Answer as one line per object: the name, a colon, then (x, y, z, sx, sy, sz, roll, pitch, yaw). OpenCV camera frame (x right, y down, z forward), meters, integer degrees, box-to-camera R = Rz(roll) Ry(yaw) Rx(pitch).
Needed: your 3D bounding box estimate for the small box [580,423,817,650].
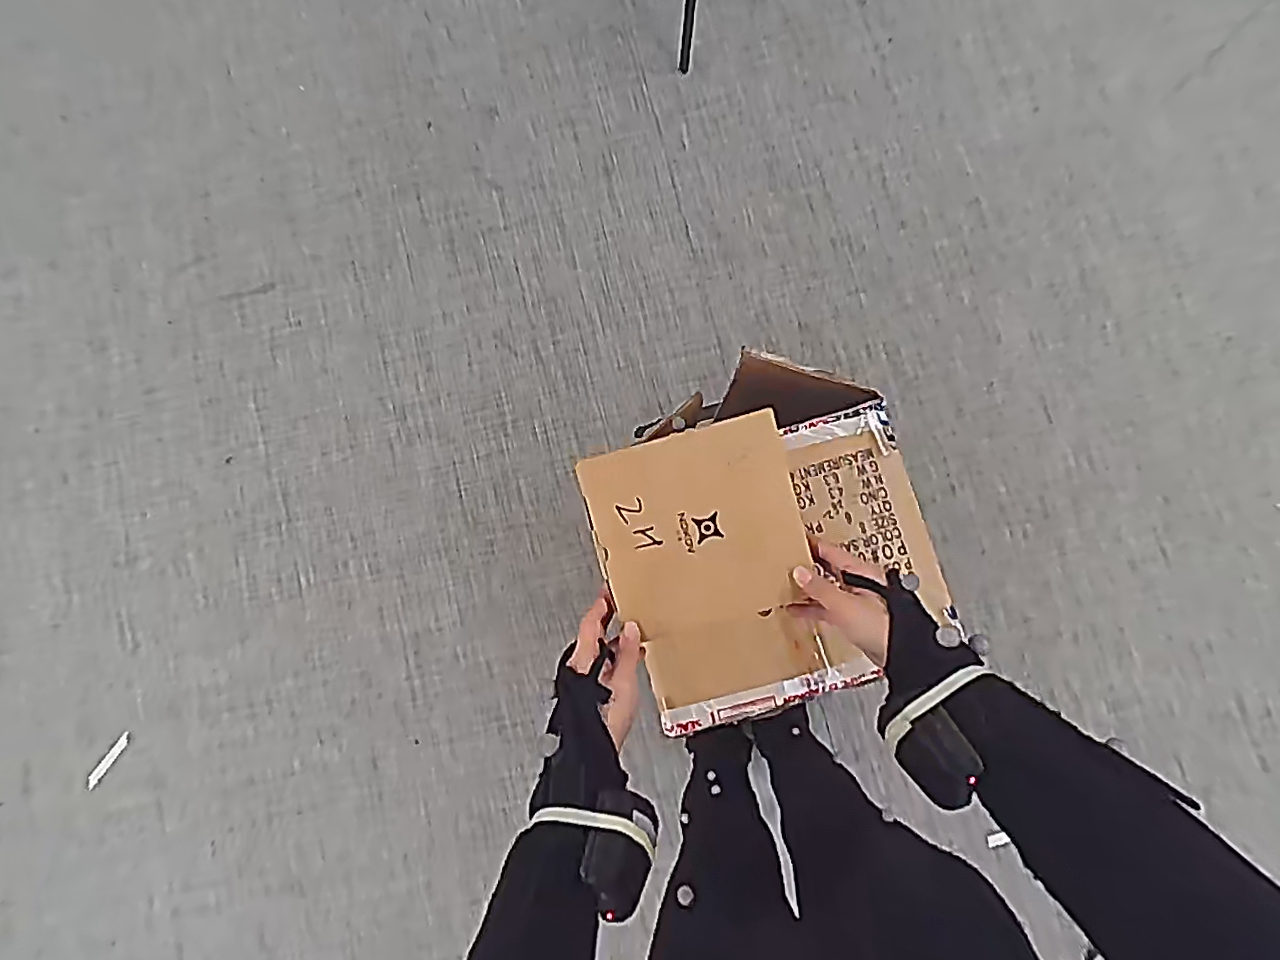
small box: (0.051, 0.046, 0.544, 0.179, 0.176, 0.168, -15, 91, 2)
